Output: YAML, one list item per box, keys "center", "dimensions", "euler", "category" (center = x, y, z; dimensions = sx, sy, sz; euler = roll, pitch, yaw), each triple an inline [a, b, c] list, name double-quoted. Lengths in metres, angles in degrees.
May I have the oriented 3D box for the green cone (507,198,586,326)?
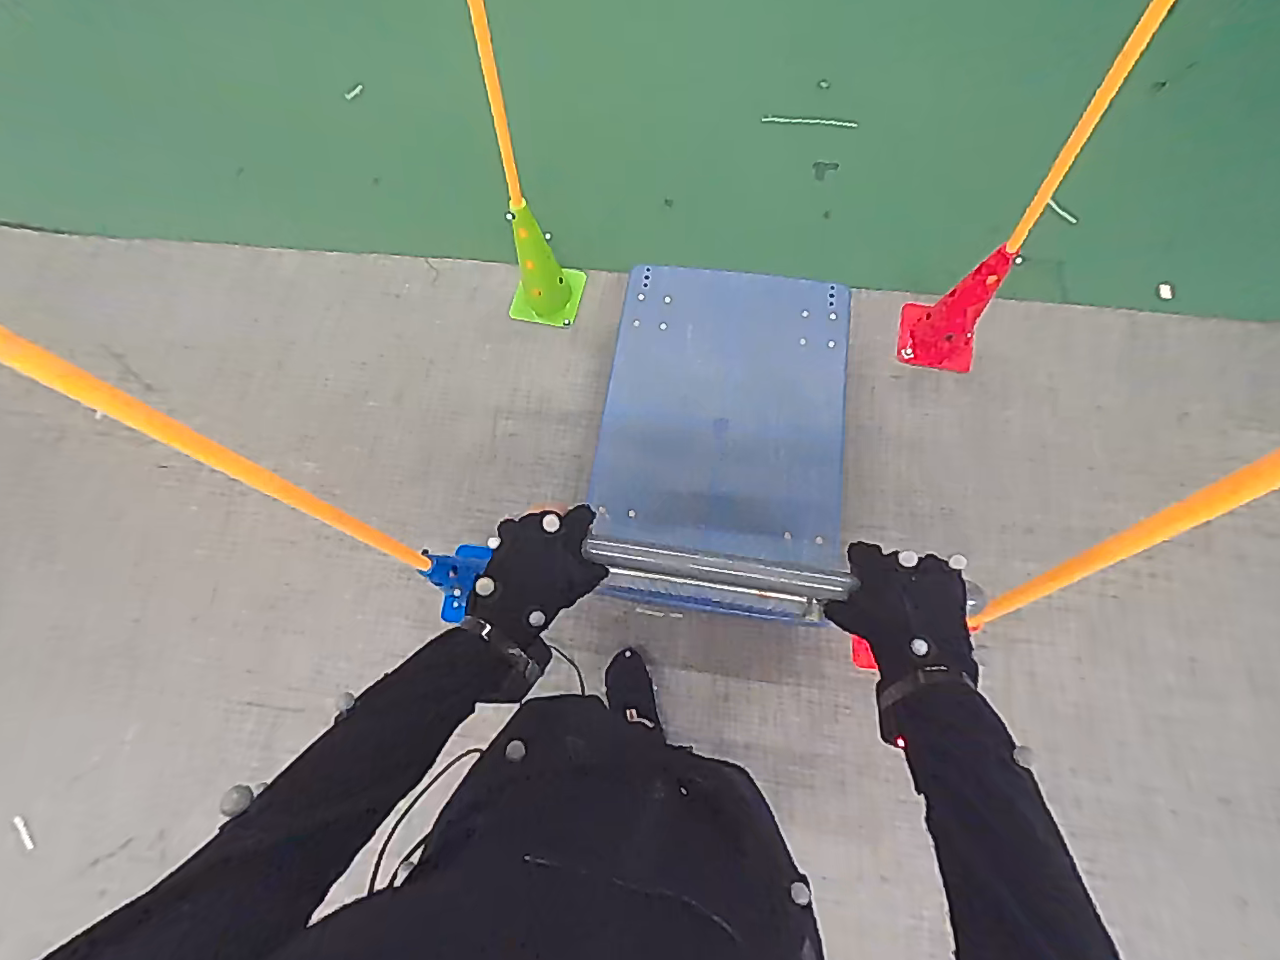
- center: [-0.287, -0.618, 1.483]
  dimensions: [0.202, 0.368, 0.200]
  euler: [11, 72, 7]
  category: "green cone"

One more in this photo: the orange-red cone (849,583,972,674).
- center: [0.595, 0.303, 1.146]
  dimensions: [0.199, 0.360, 0.198]
  euler: [6, 72, 7]
  category: "orange-red cone"
